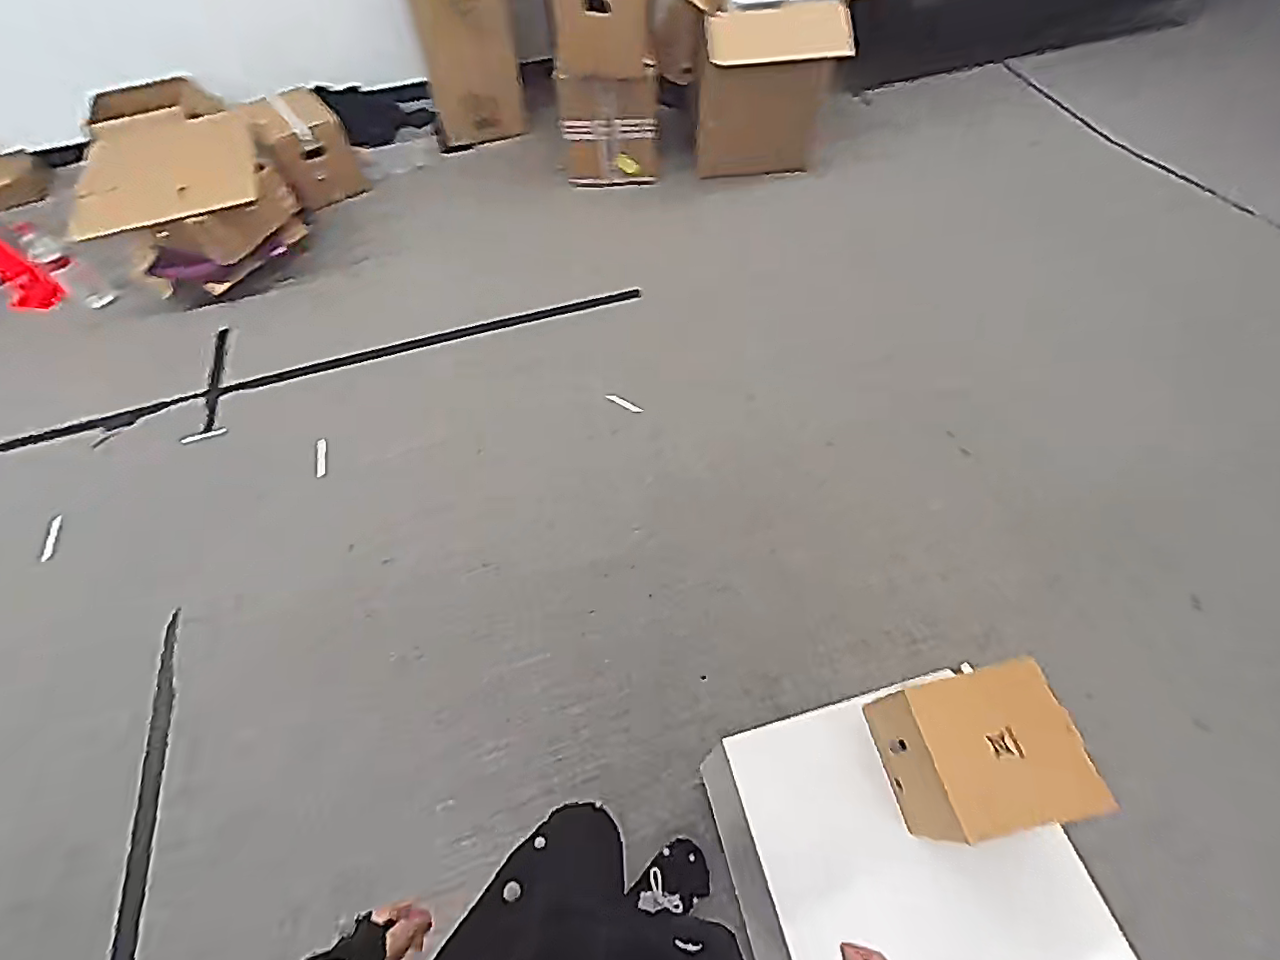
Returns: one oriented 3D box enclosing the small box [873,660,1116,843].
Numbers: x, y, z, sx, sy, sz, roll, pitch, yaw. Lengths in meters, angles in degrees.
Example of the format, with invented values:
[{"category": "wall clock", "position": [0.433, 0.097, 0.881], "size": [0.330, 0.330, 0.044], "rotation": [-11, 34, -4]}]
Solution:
[{"category": "small box", "position": [0.420, 0.346, 0.687], "size": [0.179, 0.176, 0.168], "rotation": [-11, 60, -4]}]
